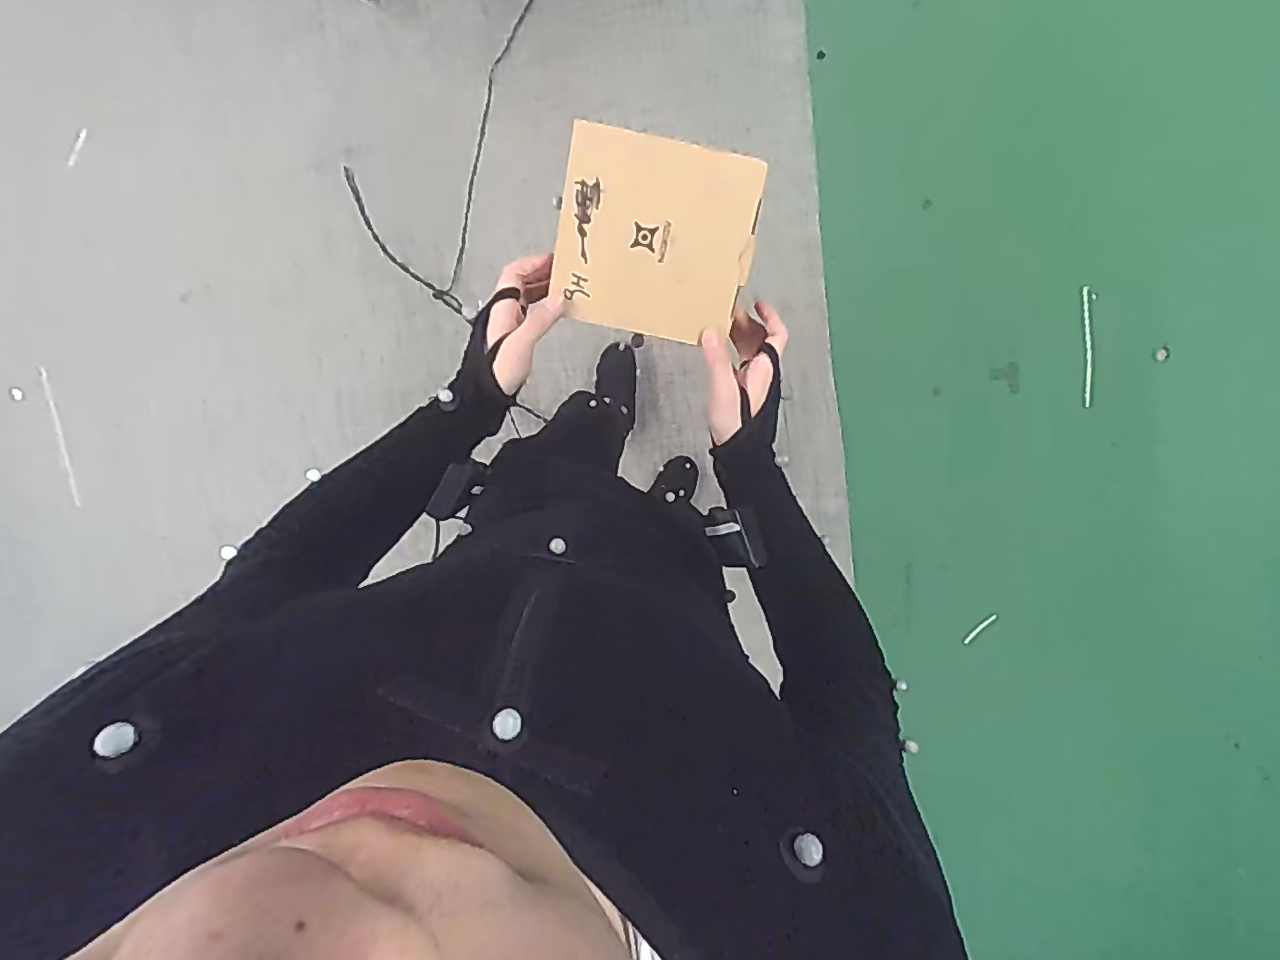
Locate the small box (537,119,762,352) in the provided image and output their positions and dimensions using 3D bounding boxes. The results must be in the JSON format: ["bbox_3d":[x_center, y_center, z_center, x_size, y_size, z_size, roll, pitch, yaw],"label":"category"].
[{"bbox_3d":[0.006,-0.235,0.563,0.179,0.176,0.168,12,103,-3],"label":"small box"}]
